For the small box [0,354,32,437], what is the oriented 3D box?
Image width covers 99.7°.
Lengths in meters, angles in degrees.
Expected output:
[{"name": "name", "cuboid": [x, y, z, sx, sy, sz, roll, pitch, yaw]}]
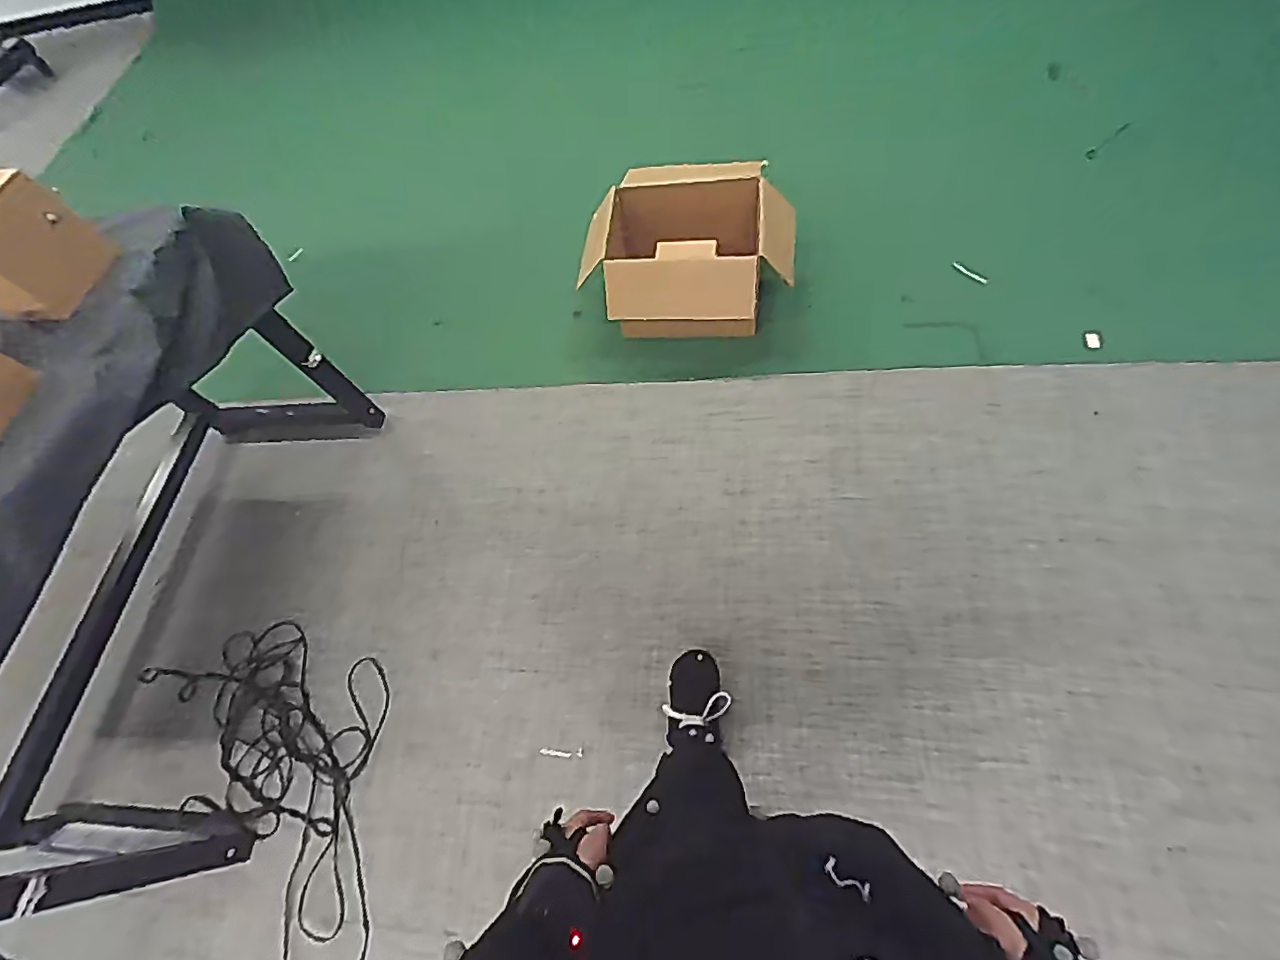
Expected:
[{"name": "small box", "cuboid": [-1.091, -0.134, 0.805, 0.168, 0.176, 0.179, -3, 64, 8]}]
